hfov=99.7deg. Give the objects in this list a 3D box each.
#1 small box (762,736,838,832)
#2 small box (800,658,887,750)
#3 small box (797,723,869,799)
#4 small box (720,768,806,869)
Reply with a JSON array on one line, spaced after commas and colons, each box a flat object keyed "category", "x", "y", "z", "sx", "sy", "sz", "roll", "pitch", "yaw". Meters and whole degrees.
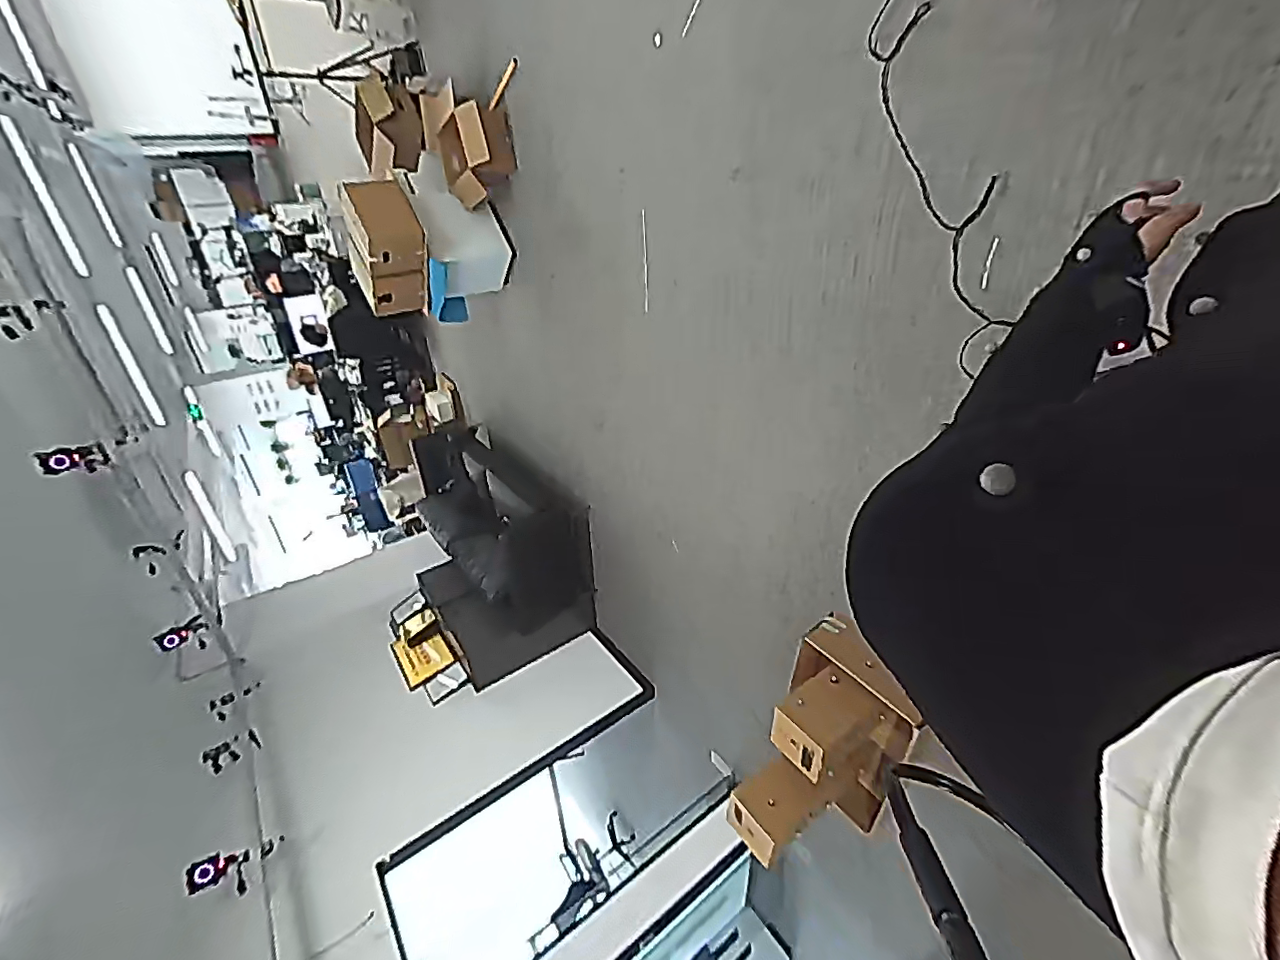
[{"category": "small box", "x": 0.505, "y": 0.968, "z": 1.735, "sx": 0.179, "sy": 0.176, "sz": 0.168, "roll": 36, "pitch": 135, "yaw": 40}, {"category": "small box", "x": 0.627, "y": 0.680, "z": 1.675, "sx": 0.179, "sy": 0.176, "sz": 0.168, "roll": 34, "pitch": 136, "yaw": 43}, {"category": "small box", "x": 0.636, "y": 0.914, "z": 1.817, "sx": 0.179, "sy": 0.176, "sz": 0.168, "roll": 39, "pitch": 138, "yaw": 41}, {"category": "small box", "x": 0.373, "y": 1.019, "z": 1.649, "sx": 0.179, "sy": 0.176, "sz": 0.168, "roll": 36, "pitch": 135, "yaw": 41}]
